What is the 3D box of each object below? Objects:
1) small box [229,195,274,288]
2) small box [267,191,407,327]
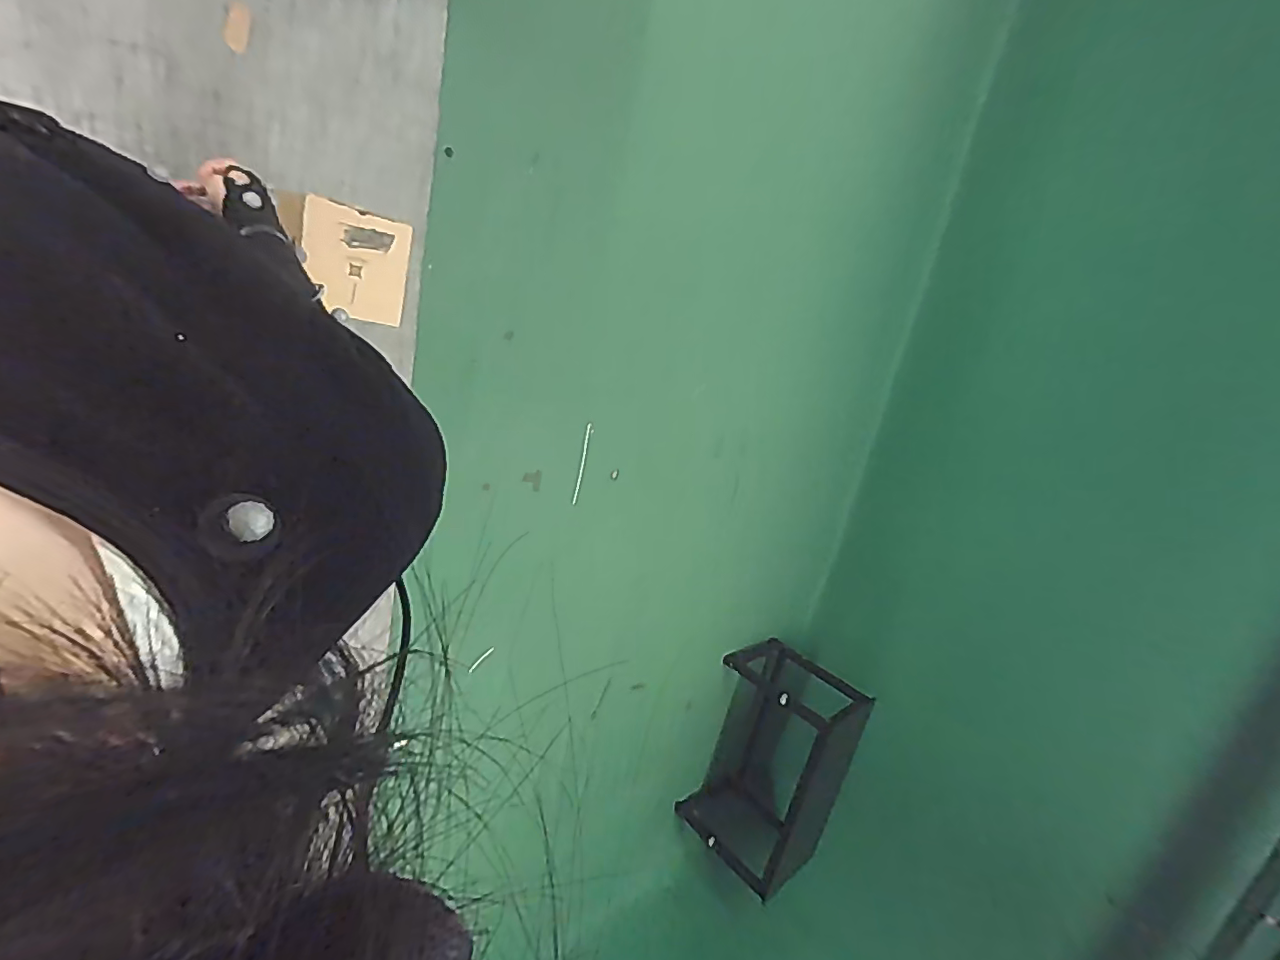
[{"bbox_3d":[-0.756,-0.487,1.163,0.179,0.176,0.168,12,101,-48],"label":"small box"},{"bbox_3d":[-0.533,-0.384,0.945,0.168,0.176,0.179,0,111,-46],"label":"small box"}]
